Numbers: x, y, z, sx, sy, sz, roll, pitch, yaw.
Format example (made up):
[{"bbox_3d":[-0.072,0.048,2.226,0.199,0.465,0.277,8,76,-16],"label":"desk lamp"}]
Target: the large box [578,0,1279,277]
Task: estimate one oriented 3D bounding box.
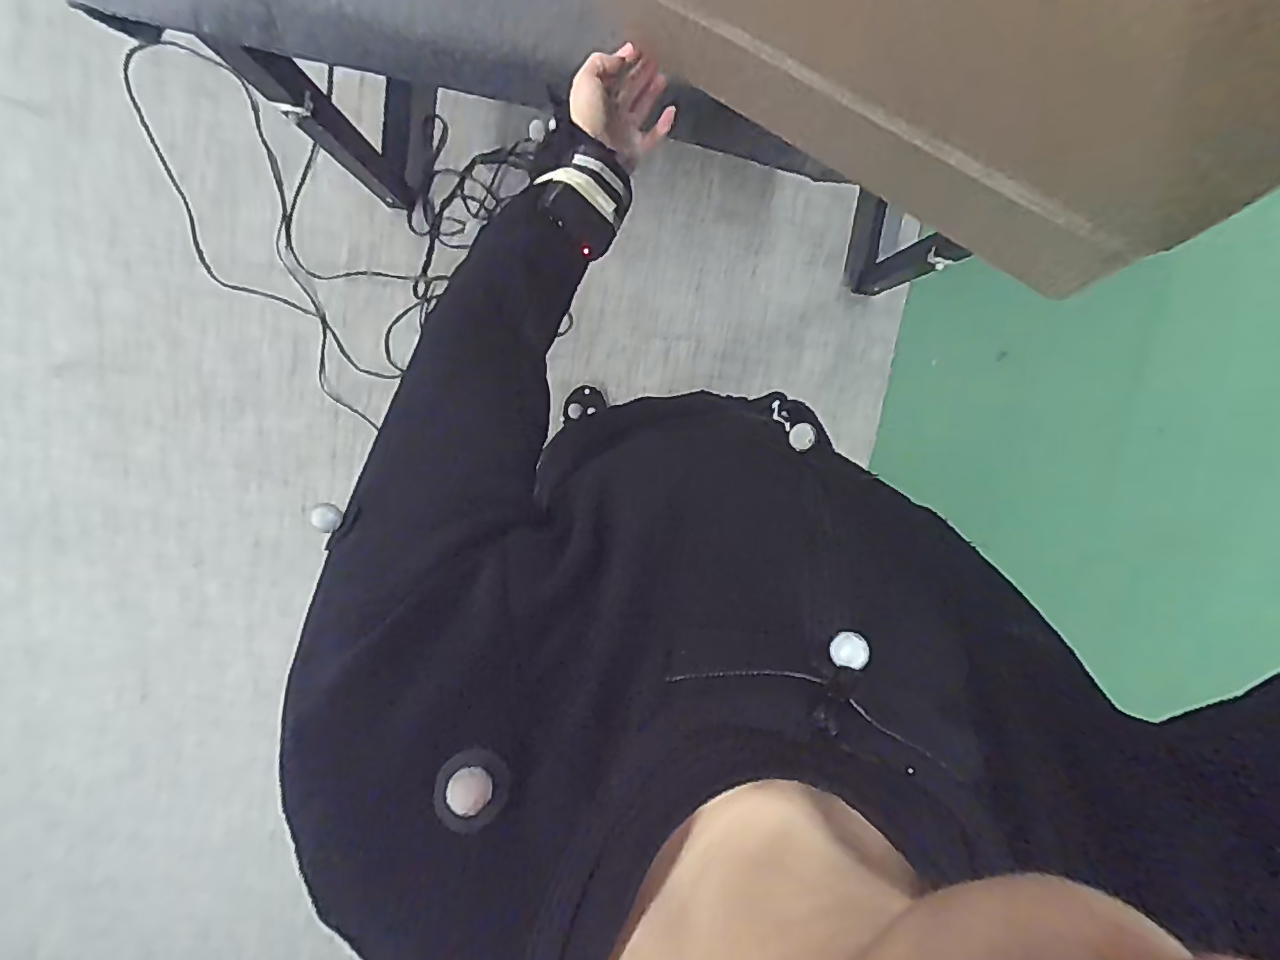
[{"bbox_3d":[0.156,-0.344,0.235,0.408,0.320,0.320,39,112,15],"label":"large box"}]
